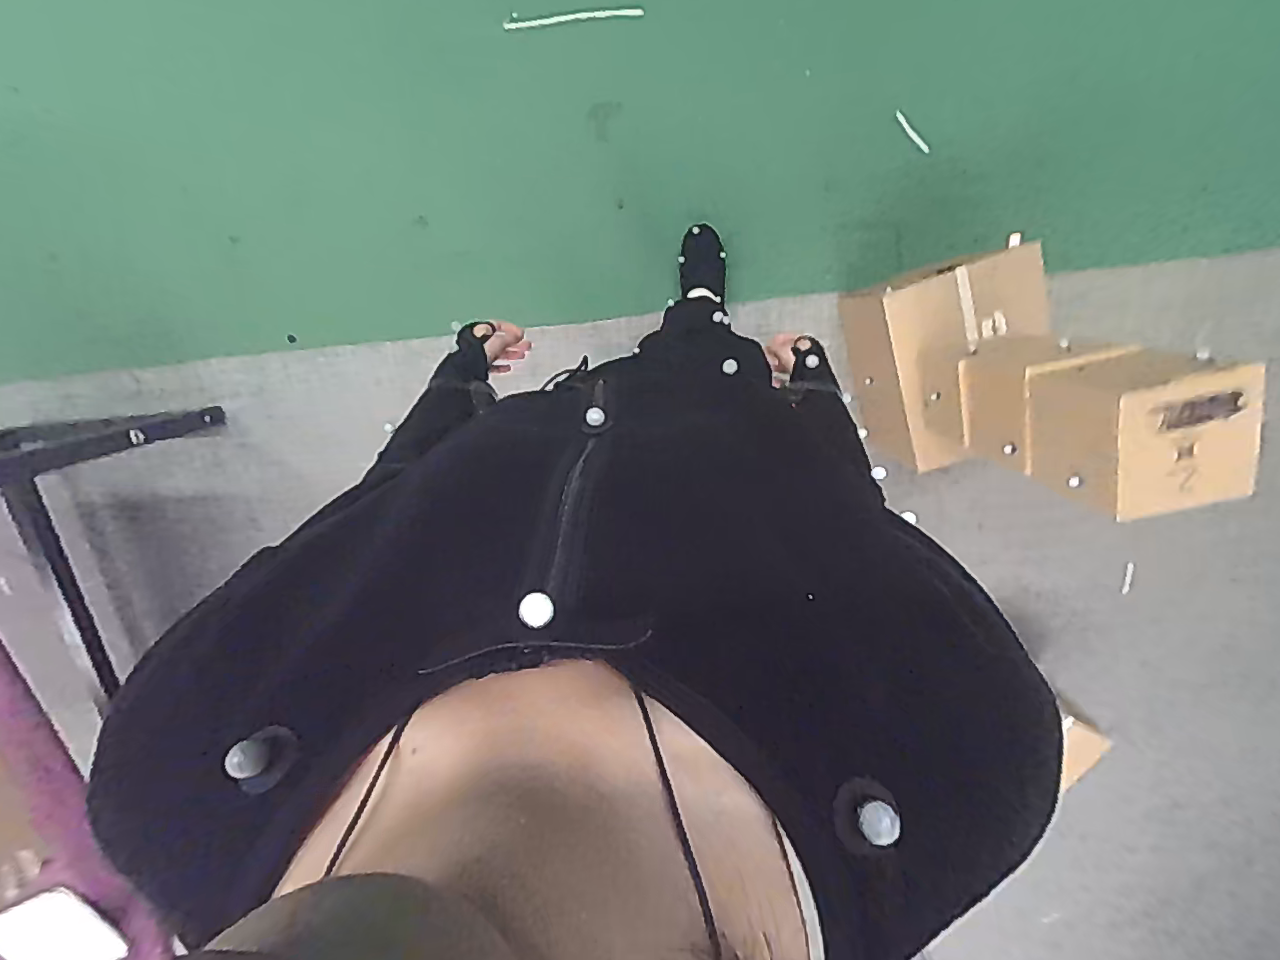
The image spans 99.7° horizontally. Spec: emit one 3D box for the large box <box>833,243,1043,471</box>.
[{"bbox_3d":[0.695,-0.285,1.276,0.320,0.320,0.408,-18,105,6],"label":"large box"}]

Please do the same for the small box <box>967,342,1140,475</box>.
[{"bbox_3d":[0.672,-0.127,0.899,0.168,0.176,0.179,-12,108,5],"label":"small box"}]

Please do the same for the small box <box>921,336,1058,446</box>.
[{"bbox_3d":[0.668,-0.178,1.052,0.179,0.176,0.168,-13,108,6],"label":"small box"}]
